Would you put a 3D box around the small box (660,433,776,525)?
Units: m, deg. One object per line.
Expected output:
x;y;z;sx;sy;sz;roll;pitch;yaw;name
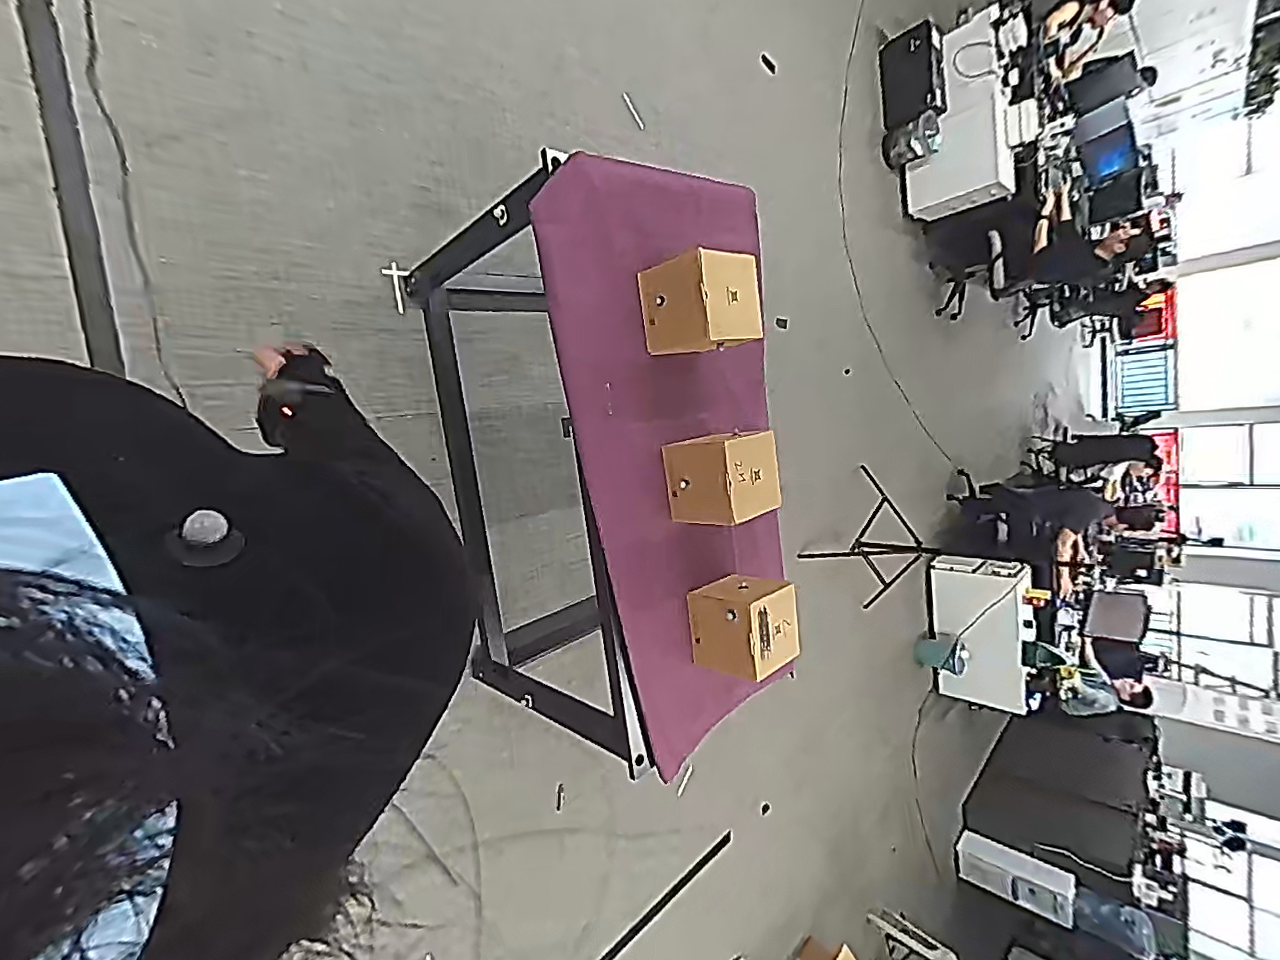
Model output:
0.166;-0.007;1.152;0.179;0.176;0.168;-15;100;-42;small box

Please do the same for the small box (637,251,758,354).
0.117;-0.354;1.104;0.179;0.176;0.168;-16;102;-42;small box
